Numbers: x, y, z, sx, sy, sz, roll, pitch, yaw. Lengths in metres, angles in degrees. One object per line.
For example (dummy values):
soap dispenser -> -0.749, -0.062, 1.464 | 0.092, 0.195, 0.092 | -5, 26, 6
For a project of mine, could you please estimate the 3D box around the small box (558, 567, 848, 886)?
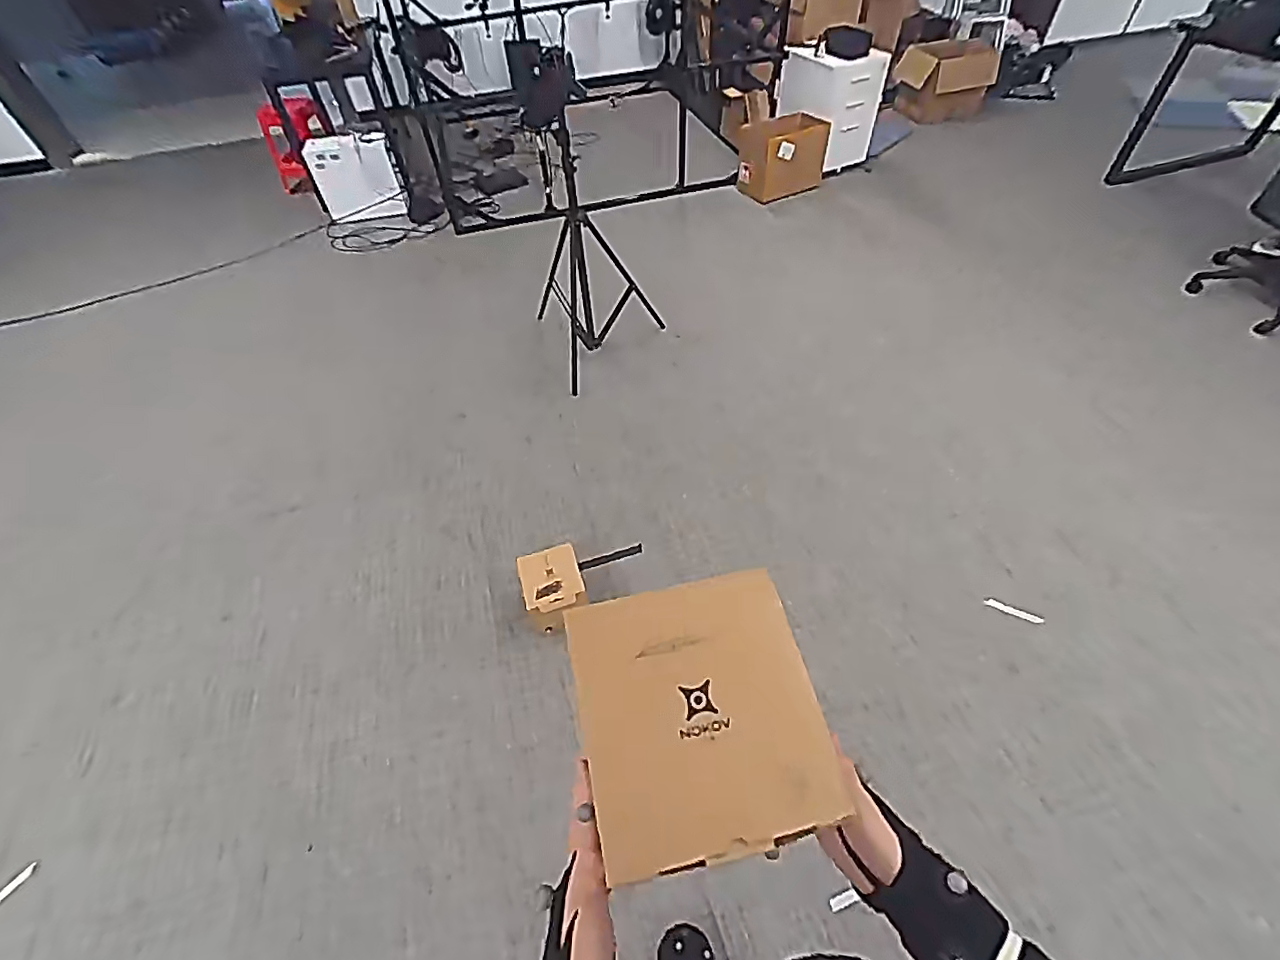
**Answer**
small box -> 0.034, 0.196, 0.443 | 0.168, 0.176, 0.179 | -11, 59, -10

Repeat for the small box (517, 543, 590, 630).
small box -> -0.246, 0.318, 1.579 | 0.168, 0.176, 0.179 | -16, 51, -10
